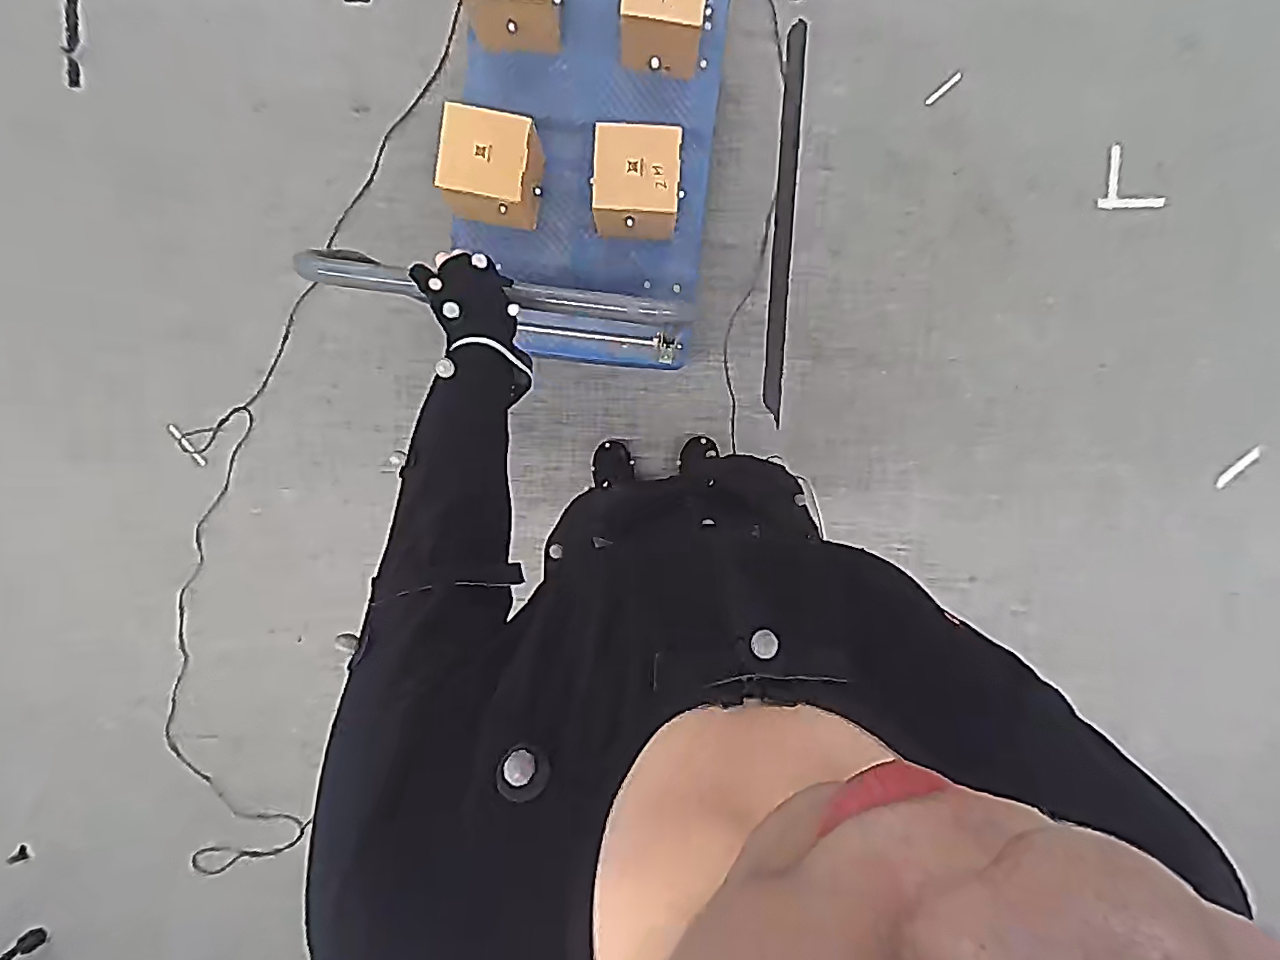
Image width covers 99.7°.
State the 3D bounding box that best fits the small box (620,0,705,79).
[{"bbox_3d":[0.051,-0.992,1.129,0.168,0.176,0.179,8,97,-1],"label":"small box"}]

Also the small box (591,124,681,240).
[{"bbox_3d":[-0.008,-0.632,1.165,0.179,0.176,0.168,3,96,-1],"label":"small box"}]

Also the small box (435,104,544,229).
[{"bbox_3d":[-0.316,-0.661,1.160,0.179,0.176,0.168,9,95,-3],"label":"small box"}]
